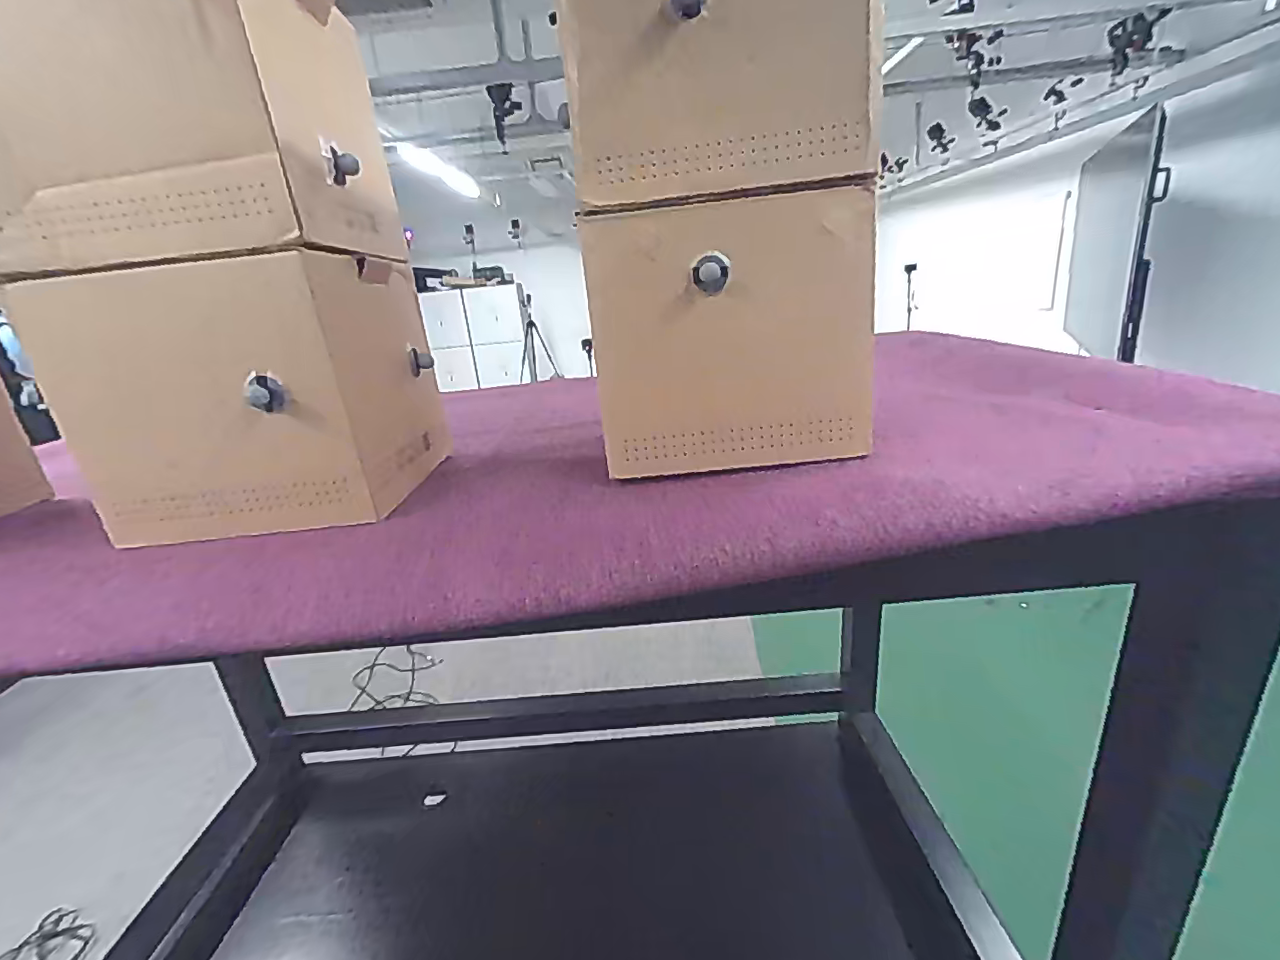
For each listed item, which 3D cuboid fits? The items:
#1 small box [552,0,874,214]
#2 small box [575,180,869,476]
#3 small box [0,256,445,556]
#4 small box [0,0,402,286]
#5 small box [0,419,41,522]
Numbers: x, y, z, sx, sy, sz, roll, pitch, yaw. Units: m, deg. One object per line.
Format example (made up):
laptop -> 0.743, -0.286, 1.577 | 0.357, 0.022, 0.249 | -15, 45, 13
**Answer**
small box -> 0.043, -0.262, 0.363 | 0.179, 0.176, 0.168 | -6, 17, 4
small box -> 0.058, -0.105, 0.410 | 0.179, 0.176, 0.168 | -5, 17, 3
small box -> -0.262, -0.060, 0.394 | 0.179, 0.176, 0.168 | -7, 19, 0
small box -> -0.282, -0.214, 0.344 | 0.179, 0.176, 0.168 | -7, 19, -1
small box -> -0.602, -0.019, 0.371 | 0.168, 0.176, 0.179 | -5, 20, -1
